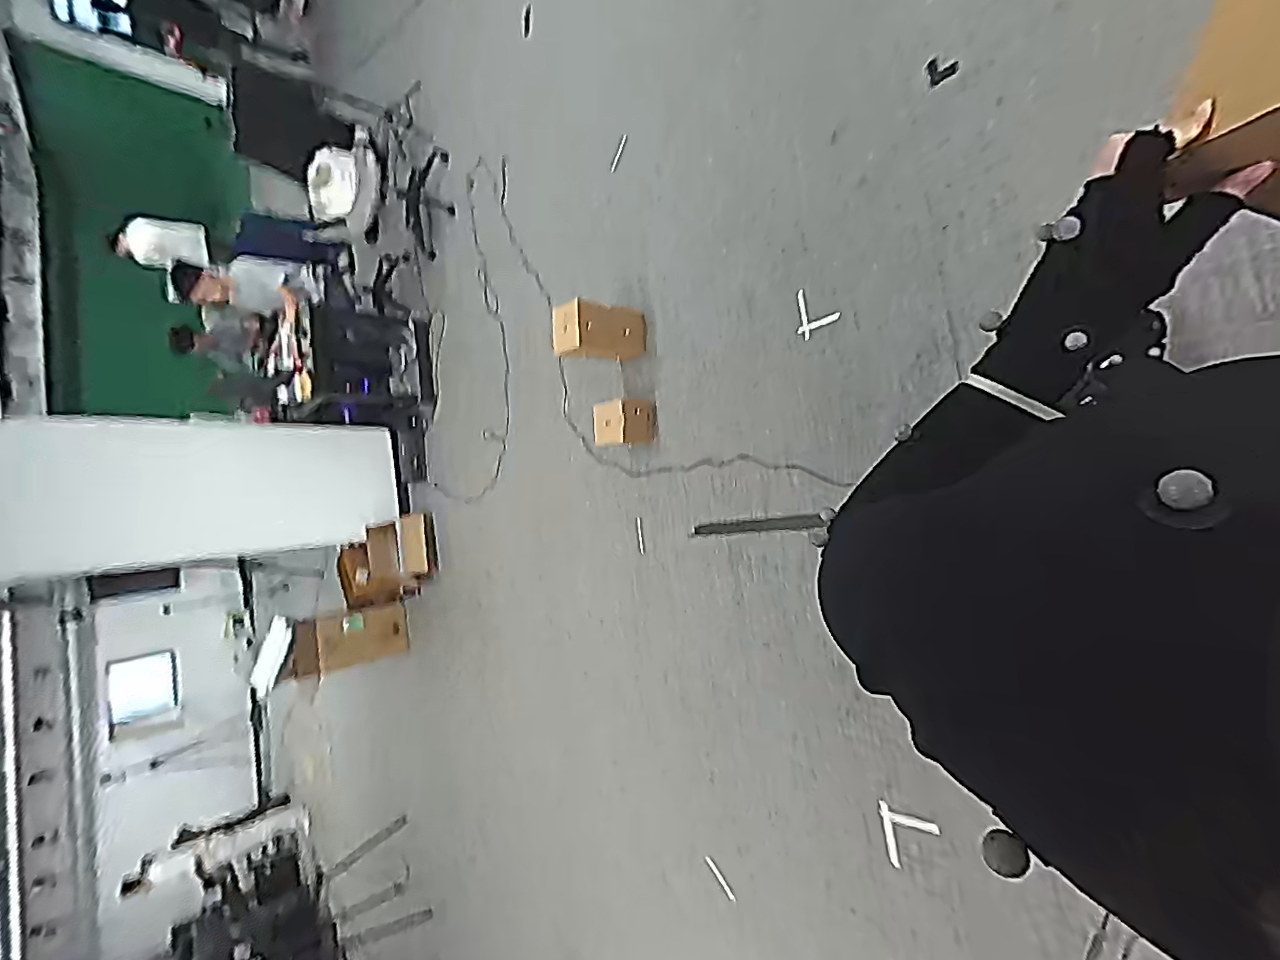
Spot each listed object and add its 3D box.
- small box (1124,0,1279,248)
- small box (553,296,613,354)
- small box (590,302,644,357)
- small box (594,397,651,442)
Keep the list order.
[{"bbox_3d":[0.422,-0.240,0.273,0.179,0.168,0.176,-121,48,-84],"label":"small box"},{"bbox_3d":[-0.217,-0.587,2.079,0.168,0.176,0.179,-2,90,46],"label":"small box"},{"bbox_3d":[-0.099,-0.603,2.195,0.168,0.176,0.179,-5,89,46],"label":"small box"},{"bbox_3d":[-0.067,-0.242,2.184,0.179,0.176,0.168,-1,91,47],"label":"small box"}]
